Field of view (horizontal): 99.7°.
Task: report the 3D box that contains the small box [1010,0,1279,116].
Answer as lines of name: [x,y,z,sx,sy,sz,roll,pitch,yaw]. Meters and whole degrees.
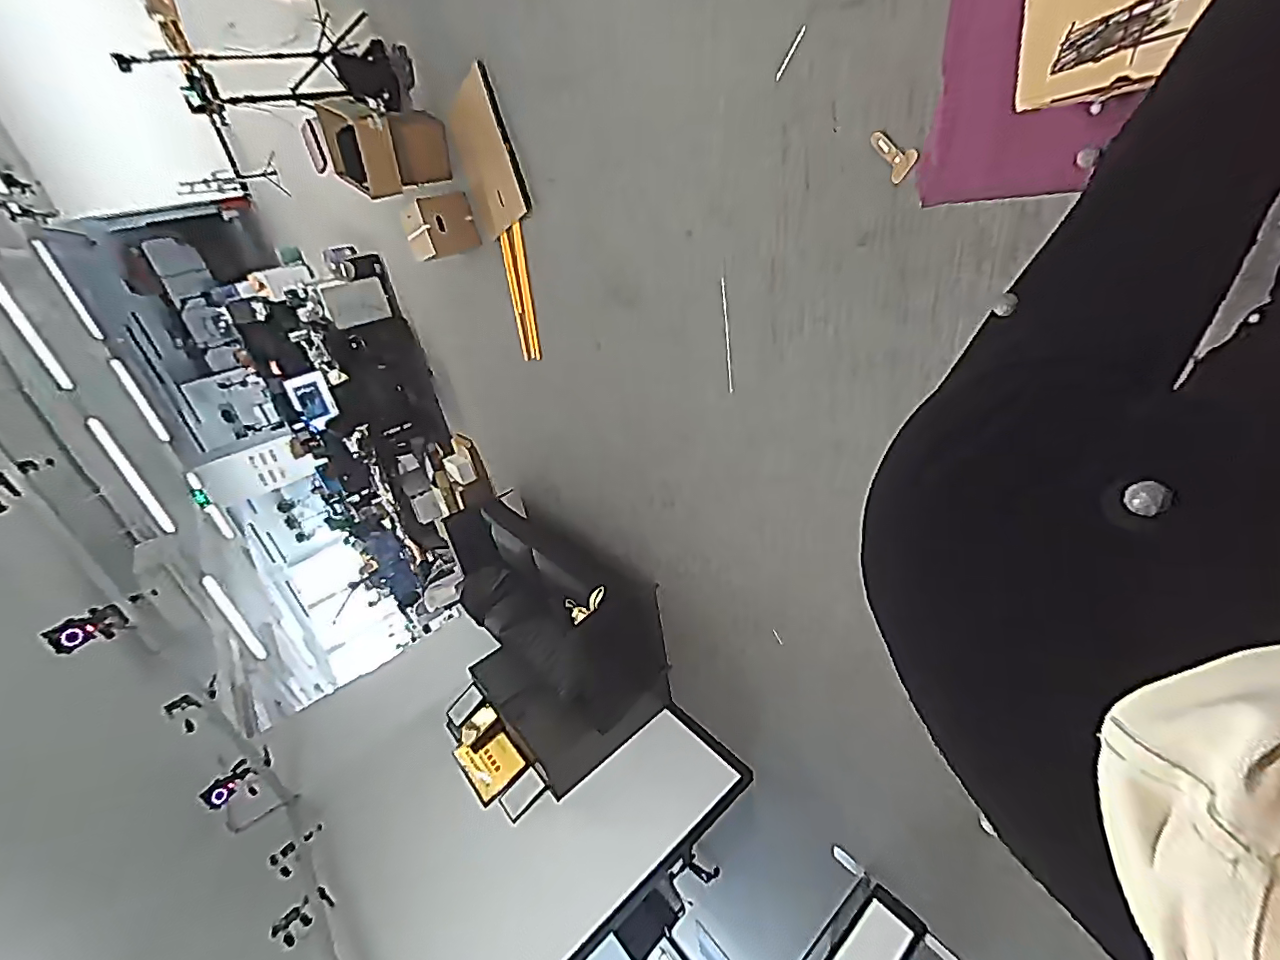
small box: [0.473,-0.456,0.492,0.168,0.176,0.179,22,130,48]
